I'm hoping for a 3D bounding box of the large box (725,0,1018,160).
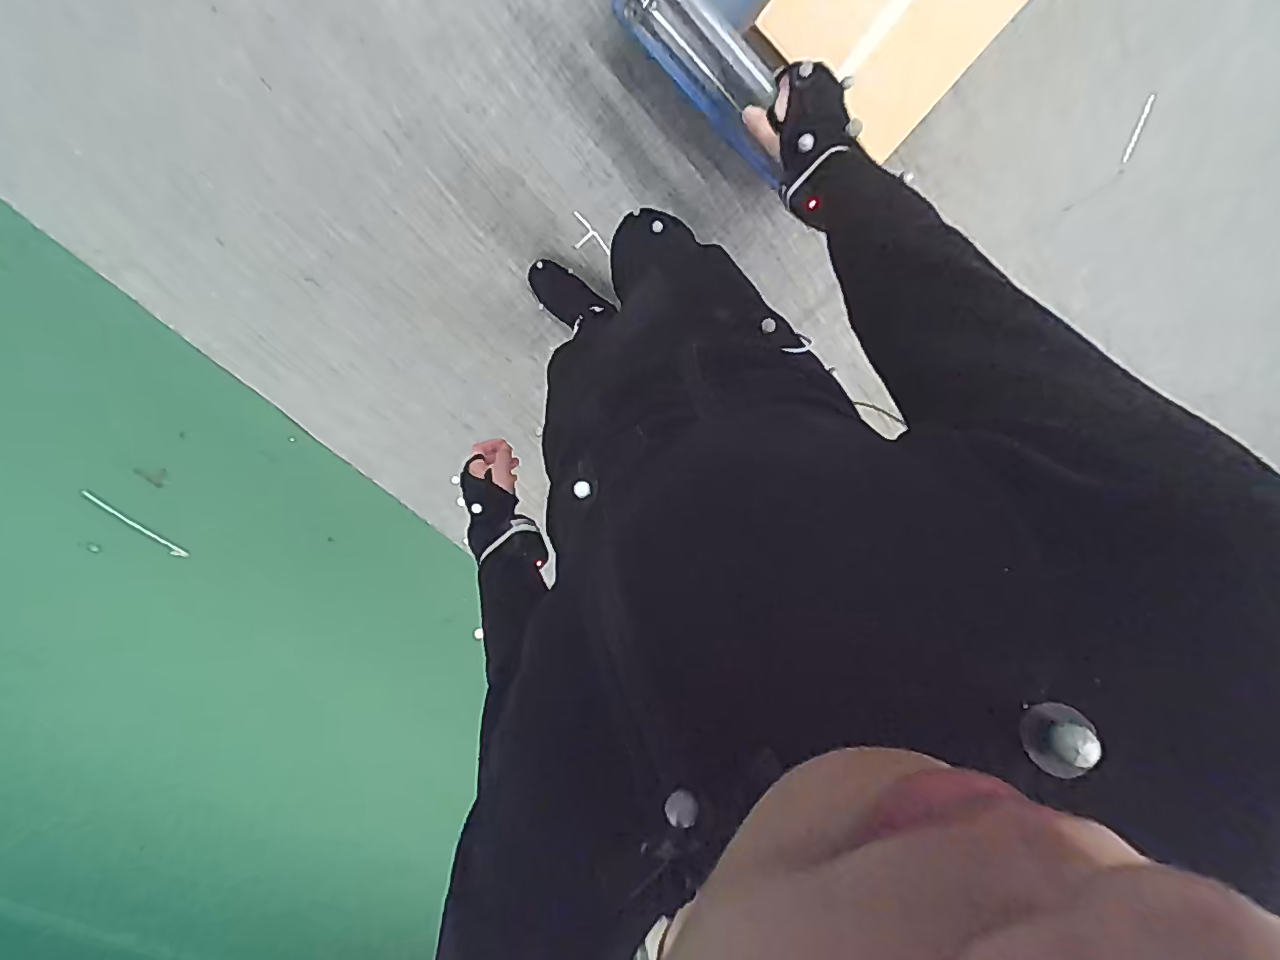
[{"bbox_3d":[0.408,-0.840,0.936,0.320,0.320,0.408,33,114,-21],"label":"large box"}]
